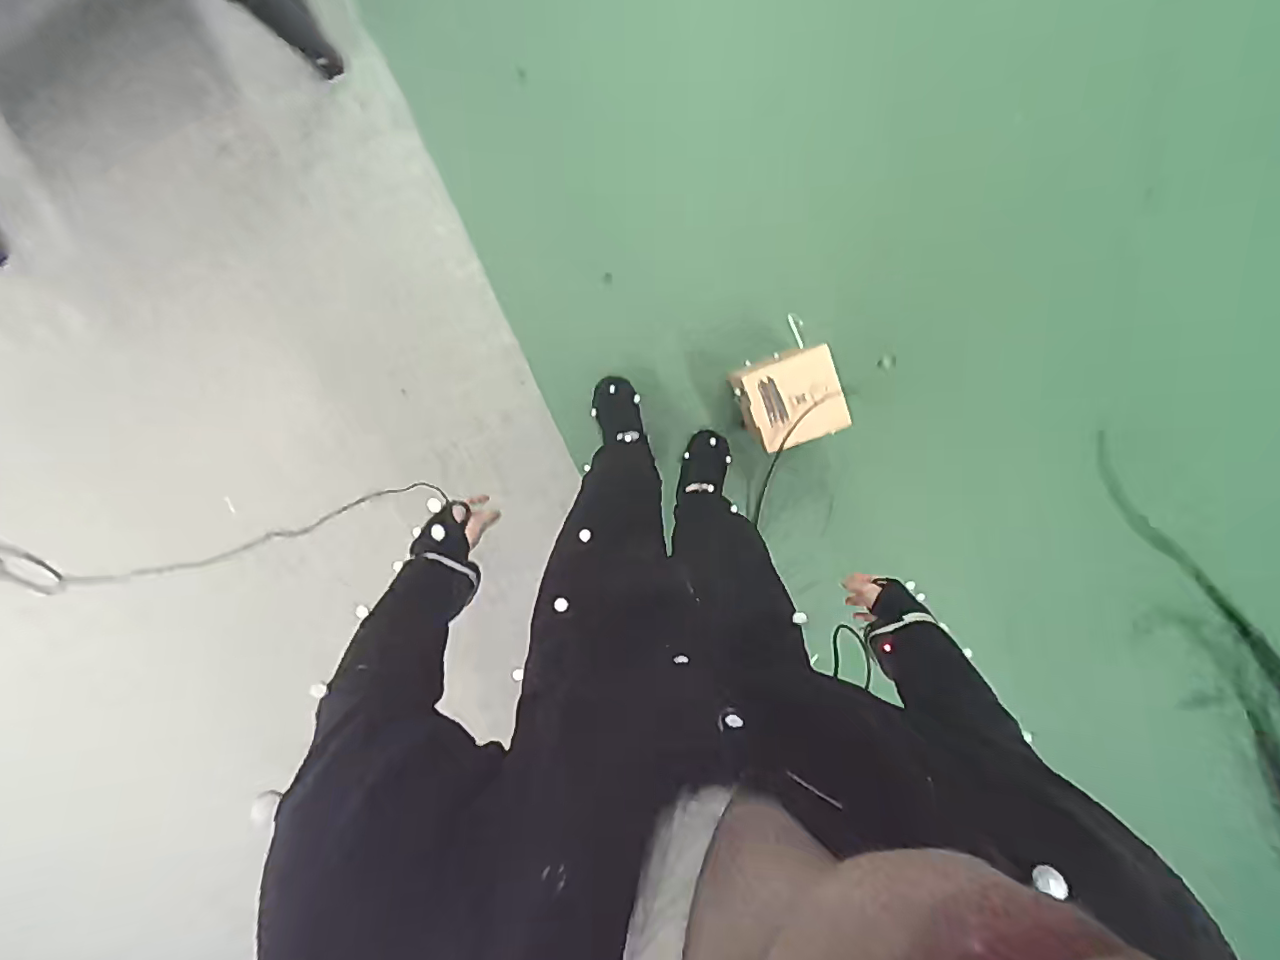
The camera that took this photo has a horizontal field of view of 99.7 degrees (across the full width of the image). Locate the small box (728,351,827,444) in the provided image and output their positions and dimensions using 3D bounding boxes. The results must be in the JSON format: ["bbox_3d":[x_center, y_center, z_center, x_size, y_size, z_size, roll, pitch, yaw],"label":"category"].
[{"bbox_3d":[0.323,-0.203,1.301,0.179,0.176,0.168,-20,99,9],"label":"small box"}]
